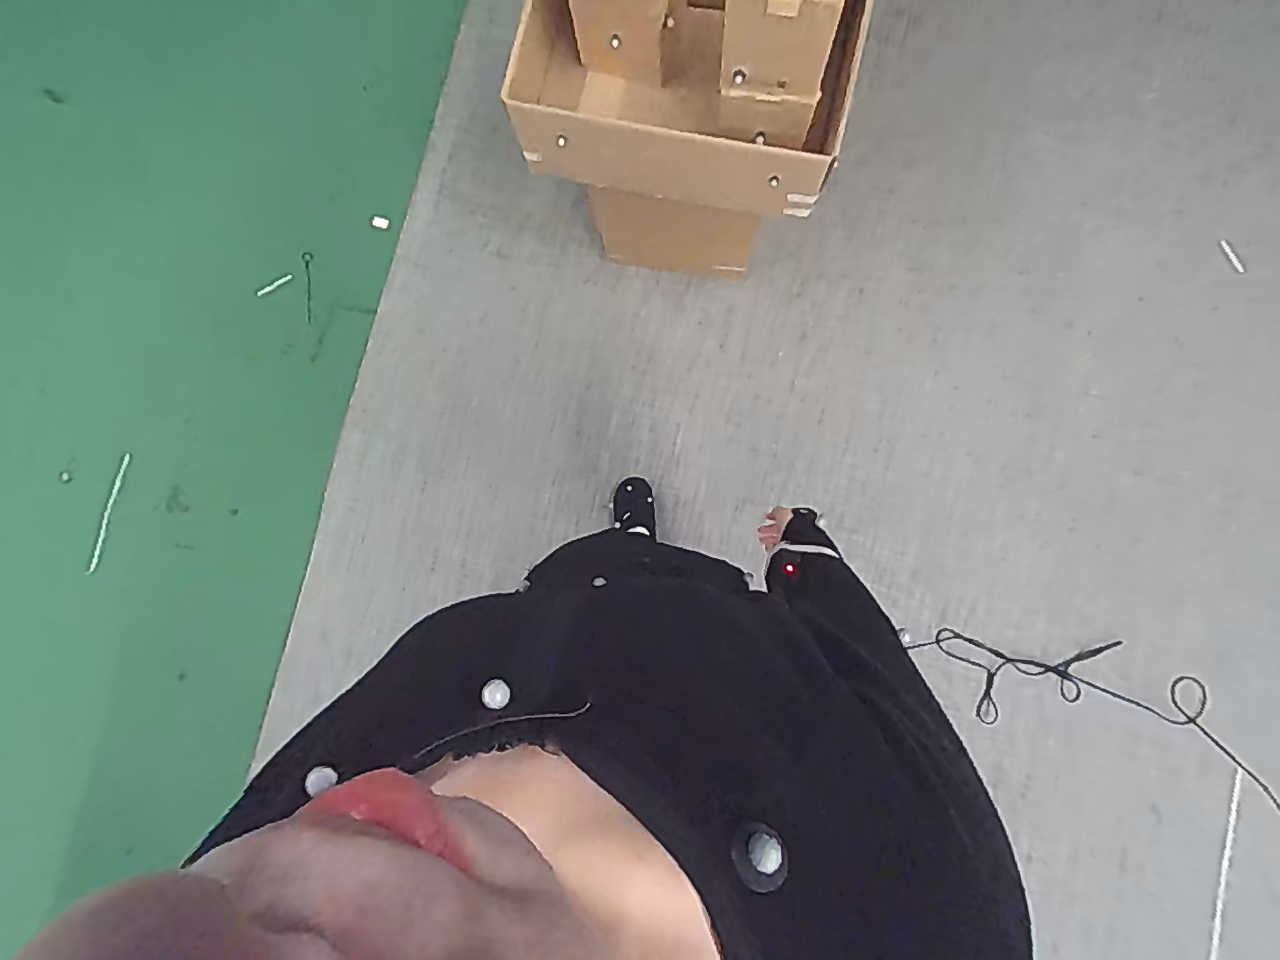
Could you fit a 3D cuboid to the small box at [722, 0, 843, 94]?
[{"bbox_3d":[0.223,-0.743,0.836,0.168,0.176,0.179,11,86,5],"label":"small box"}]
